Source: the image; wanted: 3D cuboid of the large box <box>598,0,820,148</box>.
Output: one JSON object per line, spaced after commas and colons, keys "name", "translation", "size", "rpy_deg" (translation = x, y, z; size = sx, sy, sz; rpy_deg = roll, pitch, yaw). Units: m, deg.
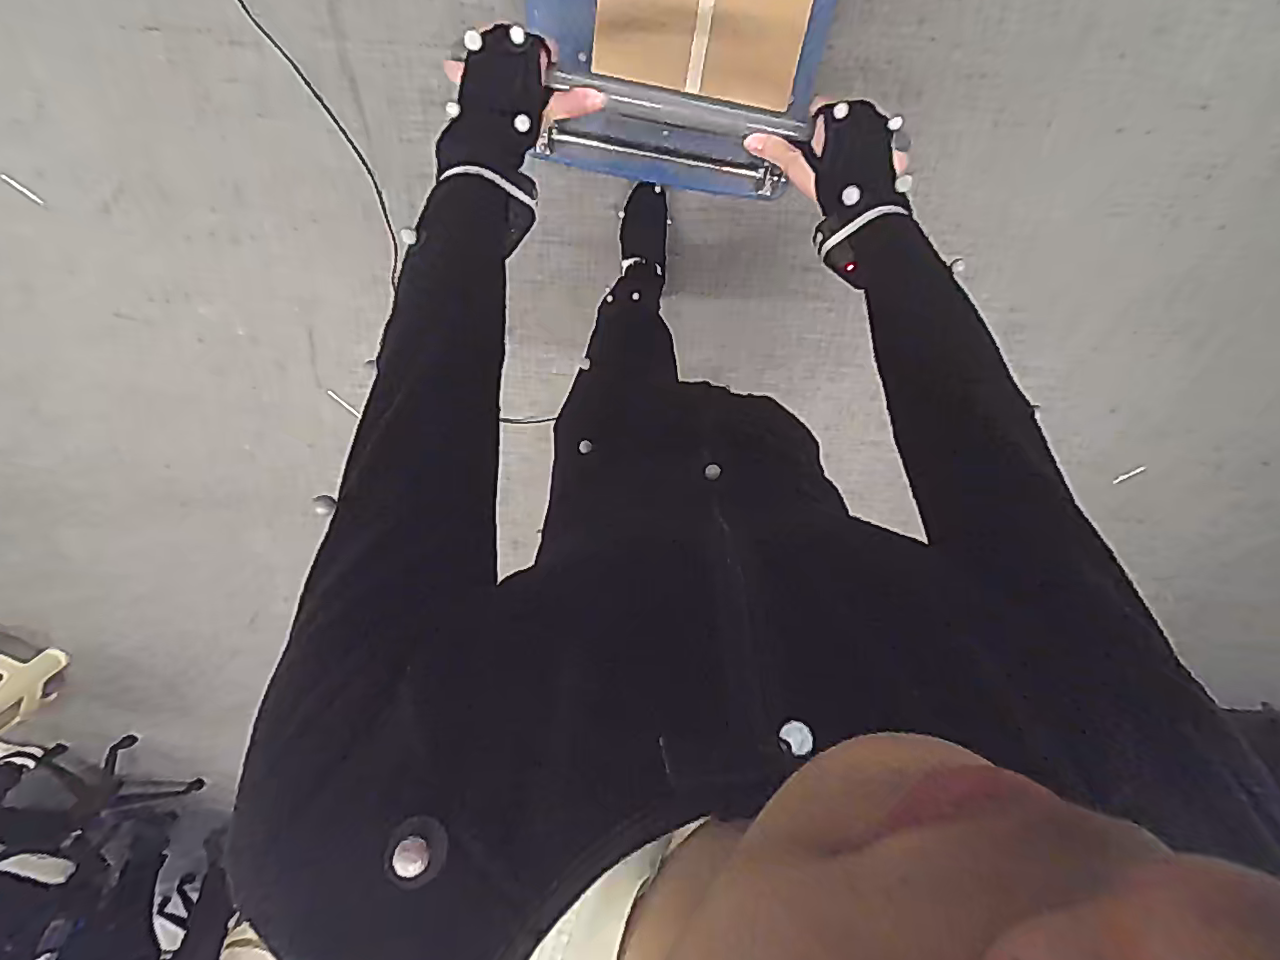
{"name": "large box", "translation": [0.115, -0.811, 0.892], "size": [0.320, 0.320, 0.408], "rpy_deg": [8, 117, -4]}
